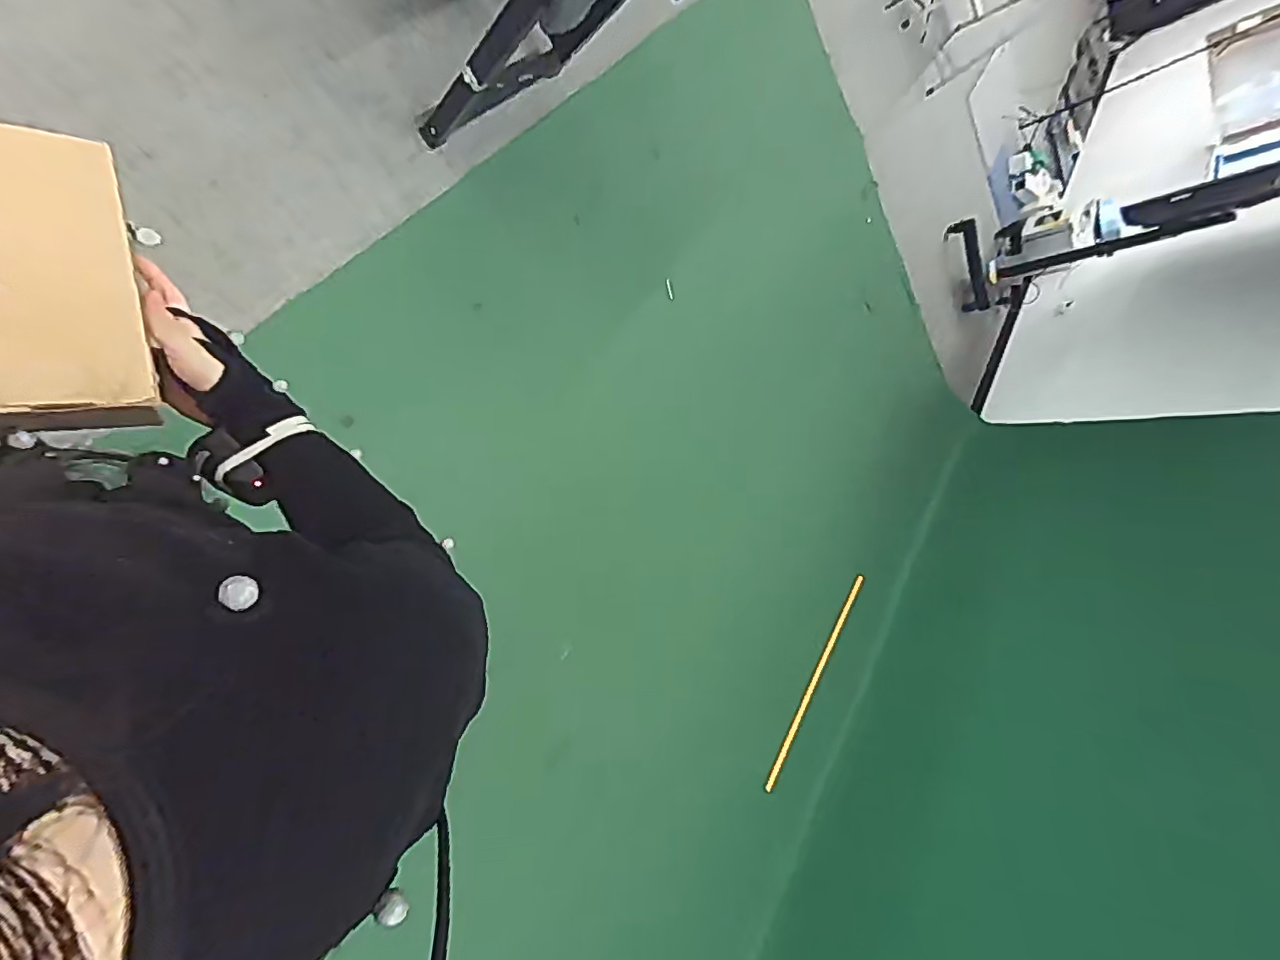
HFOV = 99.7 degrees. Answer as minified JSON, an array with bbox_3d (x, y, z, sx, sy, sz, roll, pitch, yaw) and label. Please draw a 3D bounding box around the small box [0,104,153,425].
[{"bbox_3d":[-0.453,-0.132,0.362,0.168,0.176,0.179,-11,97,-42],"label":"small box"}]
